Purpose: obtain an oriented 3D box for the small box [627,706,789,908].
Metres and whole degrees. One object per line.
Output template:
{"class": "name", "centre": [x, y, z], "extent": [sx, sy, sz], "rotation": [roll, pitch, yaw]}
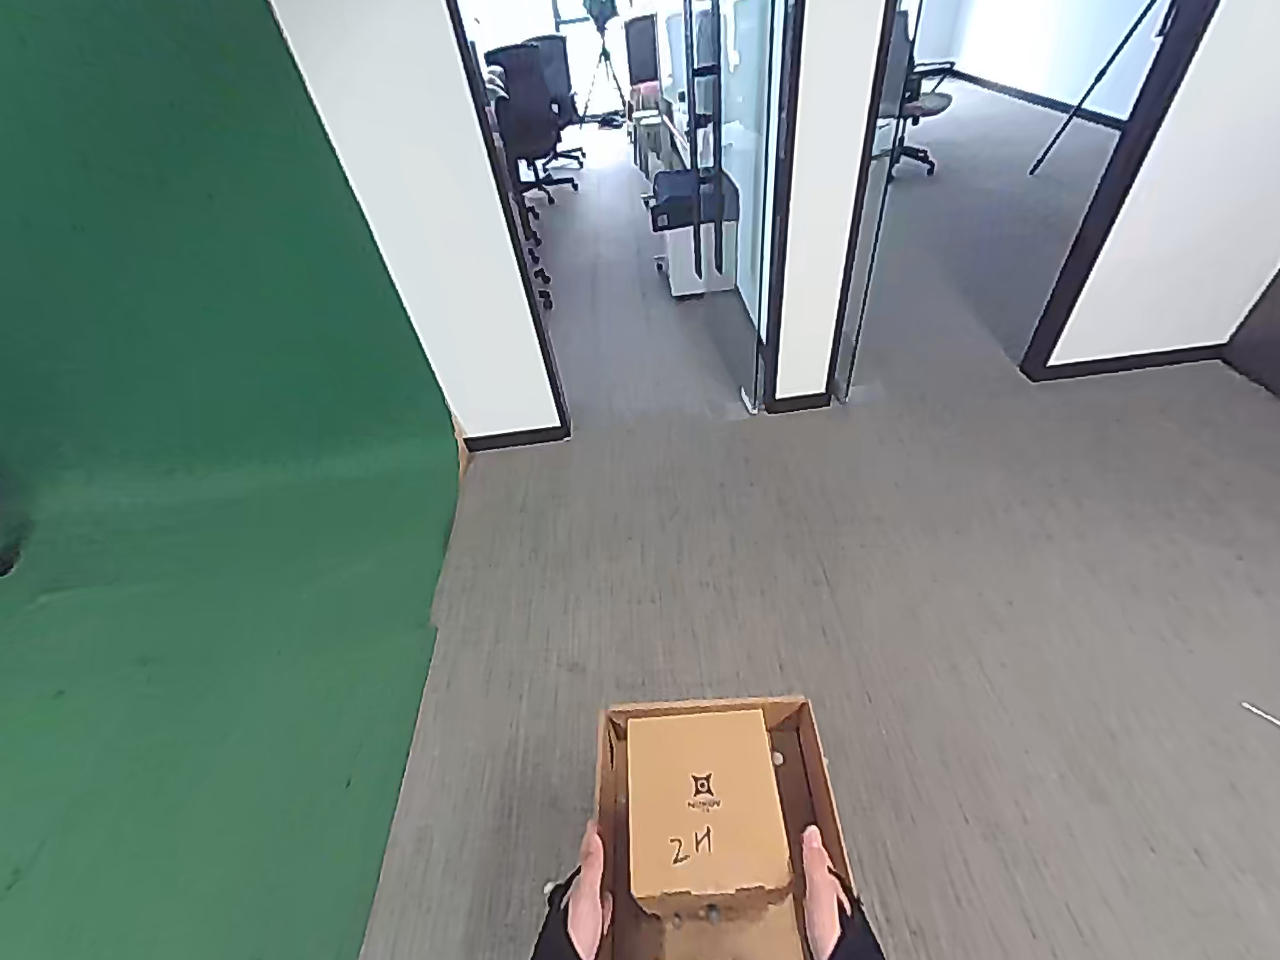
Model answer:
{"class": "small box", "centre": [0.074, 0.396, 0.655], "extent": [0.168, 0.176, 0.179], "rotation": [-5, 47, 3]}
